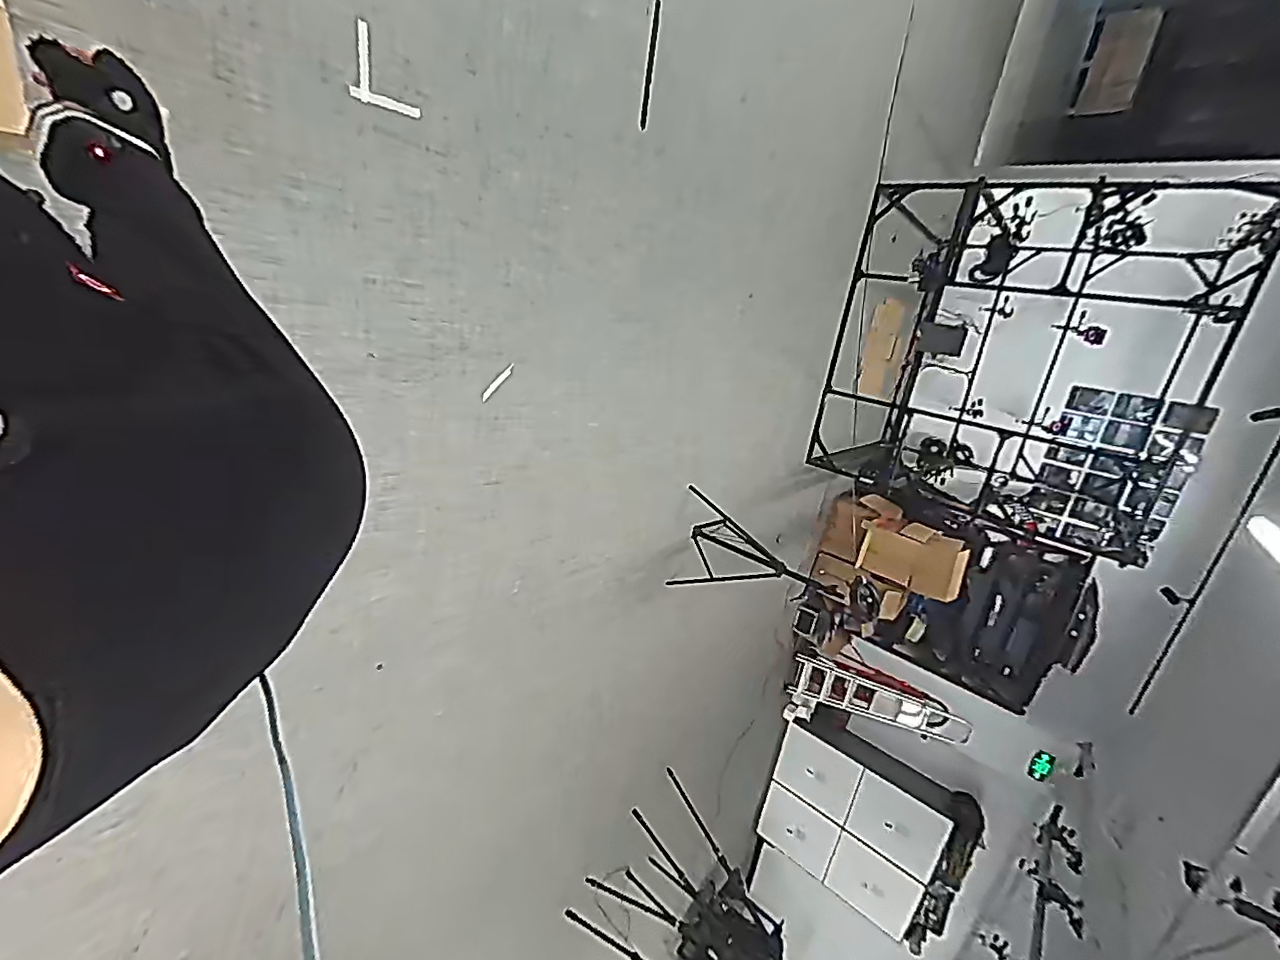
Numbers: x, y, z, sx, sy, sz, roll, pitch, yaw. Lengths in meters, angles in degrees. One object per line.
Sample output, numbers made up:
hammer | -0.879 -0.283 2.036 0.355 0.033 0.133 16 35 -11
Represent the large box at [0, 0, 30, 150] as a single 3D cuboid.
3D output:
large box | -1.069 -0.624 0.636 0.408 0.320 0.320 -17 119 -49
